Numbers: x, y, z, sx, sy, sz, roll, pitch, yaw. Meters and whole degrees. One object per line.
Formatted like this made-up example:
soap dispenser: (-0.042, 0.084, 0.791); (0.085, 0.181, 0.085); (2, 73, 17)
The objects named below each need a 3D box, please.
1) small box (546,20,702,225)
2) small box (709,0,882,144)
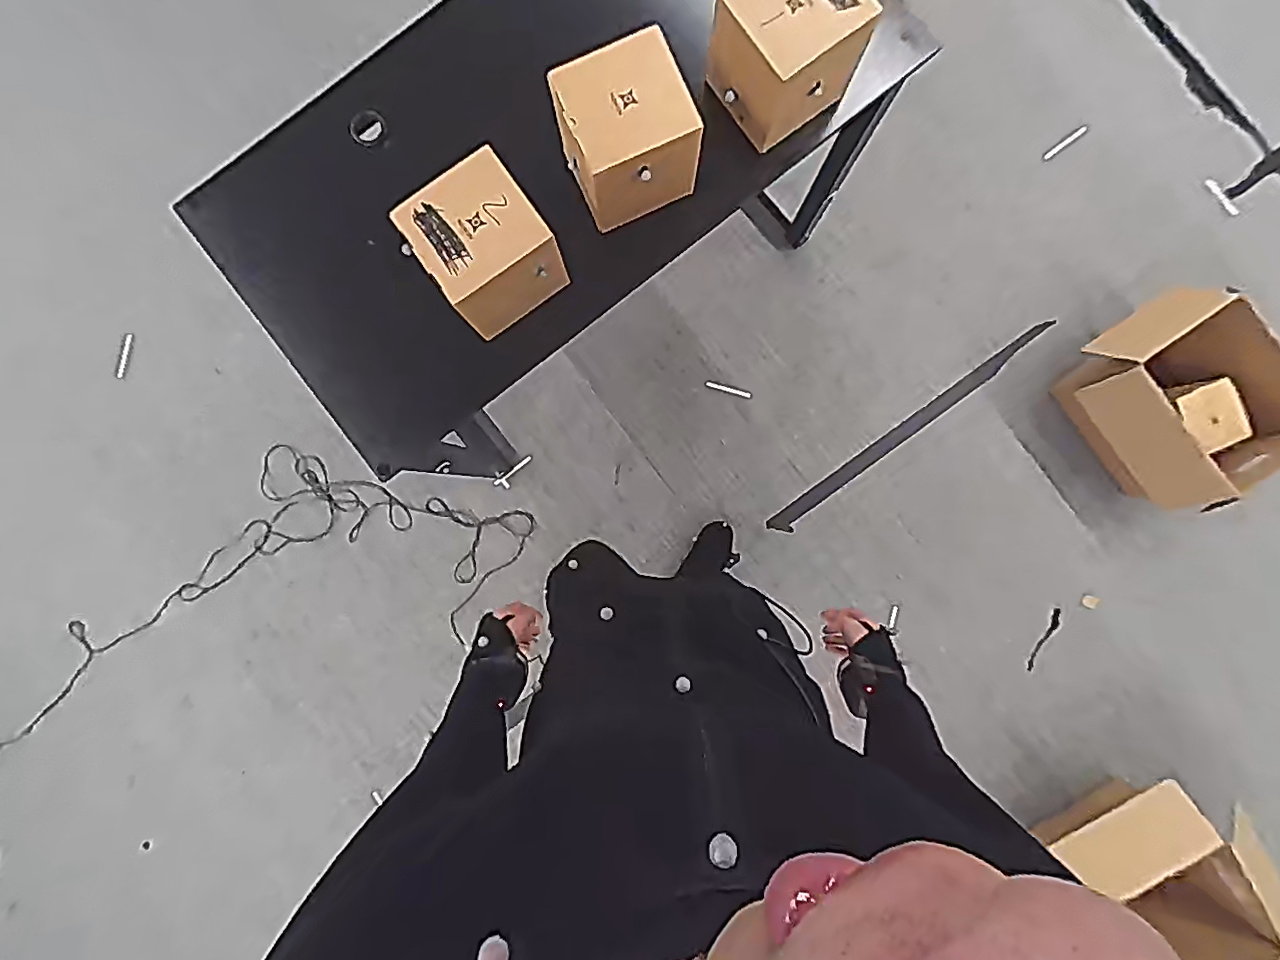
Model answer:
small box: (-0.021, -0.535, 0.834); (0.179, 0.176, 0.168); (-24, 88, 1)
small box: (0.222, -0.673, 0.828); (0.179, 0.176, 0.168); (-36, 88, 2)
